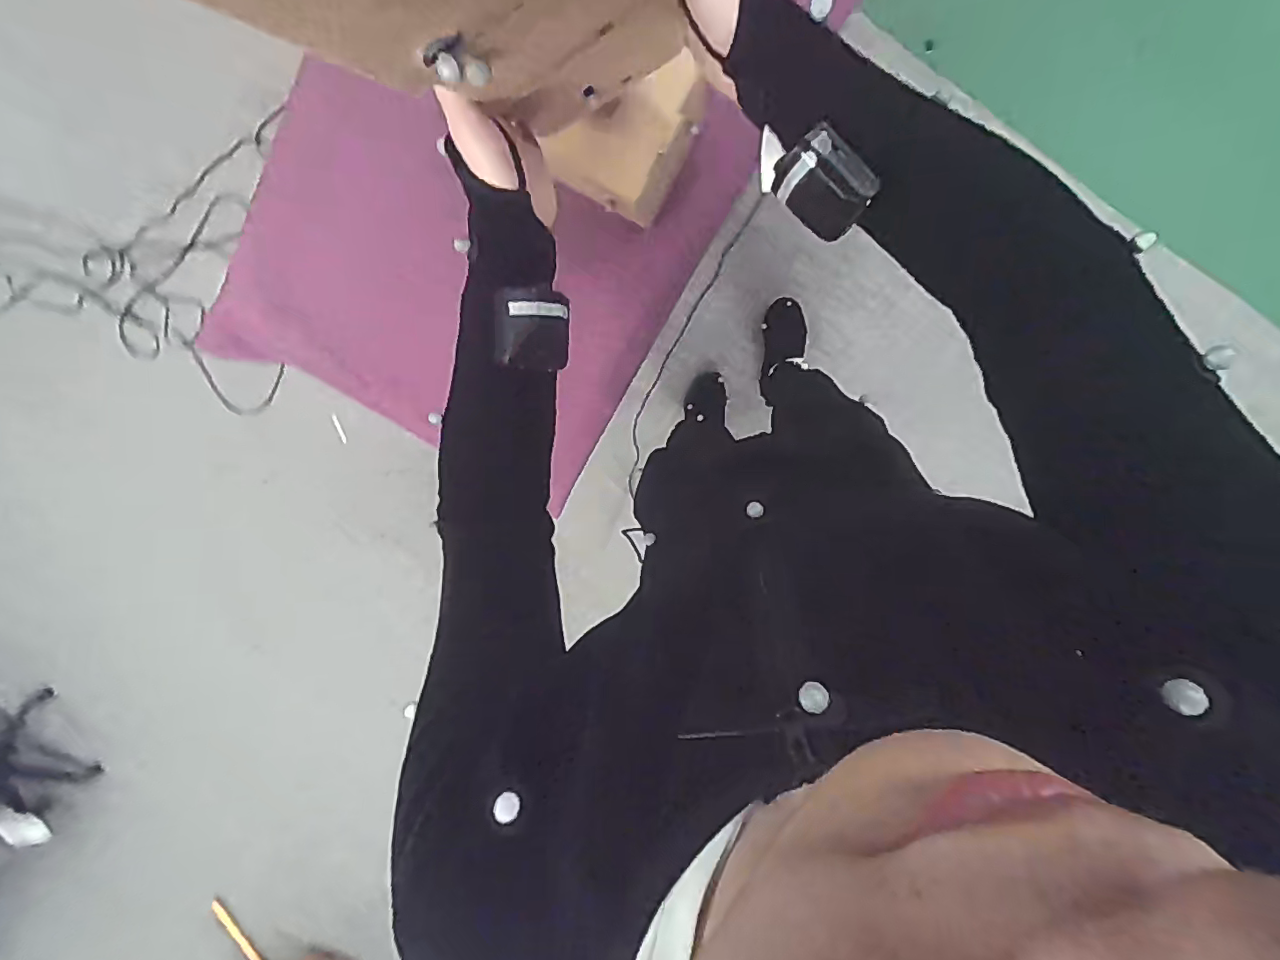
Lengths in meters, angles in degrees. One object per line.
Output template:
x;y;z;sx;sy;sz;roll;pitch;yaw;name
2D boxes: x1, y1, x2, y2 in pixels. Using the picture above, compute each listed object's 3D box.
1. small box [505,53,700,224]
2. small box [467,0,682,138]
-0.037;-0.450;0.689;0.179;0.176;0.168;29;105;-1;small box
-0.073;-0.425;0.454;0.168;0.176;0.179;-23;112;16;small box
